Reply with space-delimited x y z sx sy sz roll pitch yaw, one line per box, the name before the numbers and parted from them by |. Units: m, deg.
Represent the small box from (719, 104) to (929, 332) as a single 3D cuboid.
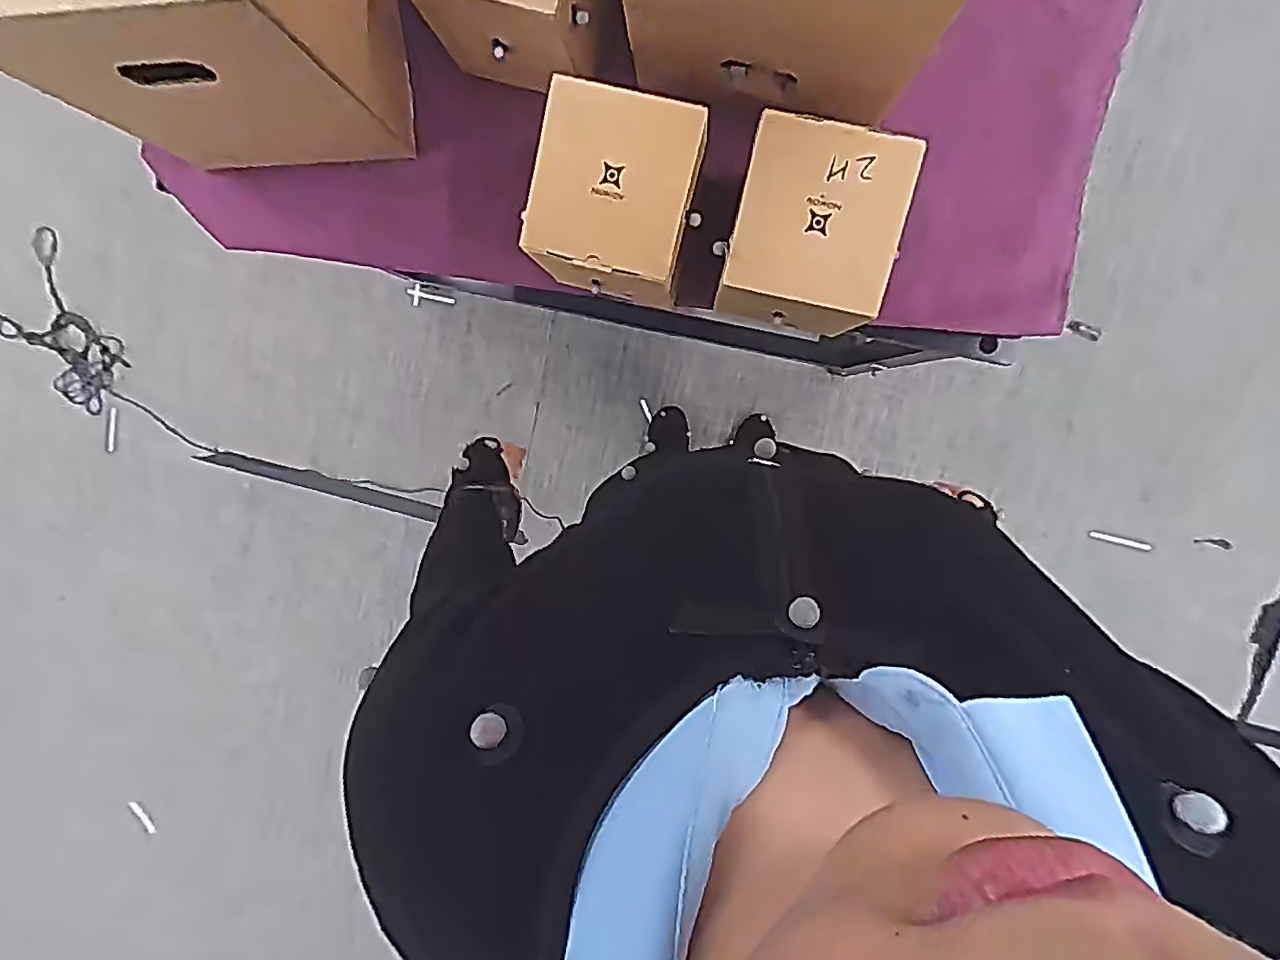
small box | 0.191 -0.280 0.621 0.168 0.176 0.179 14 99 3
